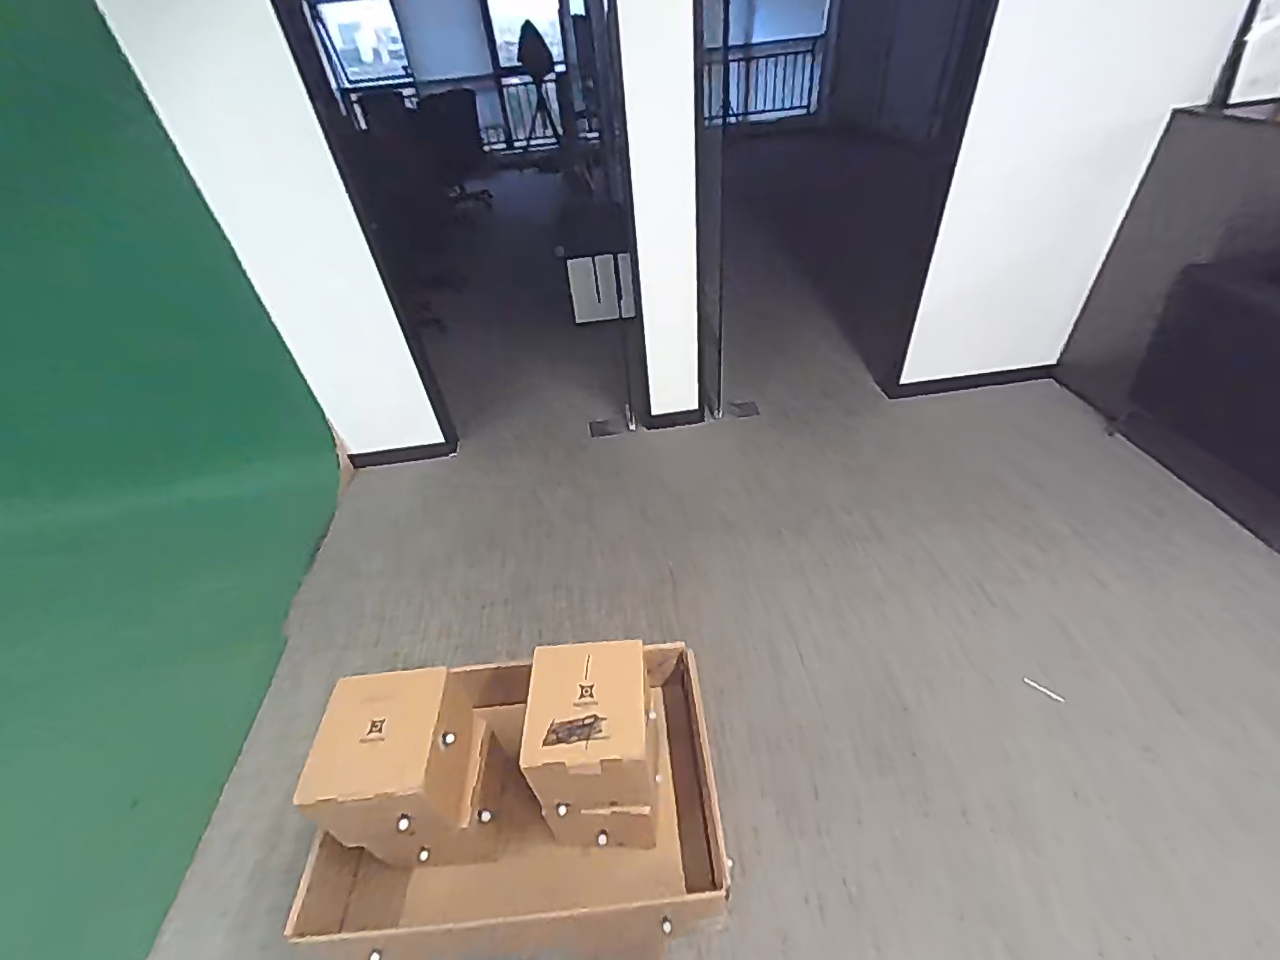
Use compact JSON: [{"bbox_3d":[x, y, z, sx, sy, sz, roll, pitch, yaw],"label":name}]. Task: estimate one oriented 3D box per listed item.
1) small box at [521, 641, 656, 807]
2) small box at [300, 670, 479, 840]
[{"bbox_3d":[-0.066,0.367,0.806,0.168,0.176,0.179,-5,40,3],"label":"small box"},{"bbox_3d":[-0.350,0.410,0.800,0.168,0.176,0.179,-6,40,1],"label":"small box"}]
